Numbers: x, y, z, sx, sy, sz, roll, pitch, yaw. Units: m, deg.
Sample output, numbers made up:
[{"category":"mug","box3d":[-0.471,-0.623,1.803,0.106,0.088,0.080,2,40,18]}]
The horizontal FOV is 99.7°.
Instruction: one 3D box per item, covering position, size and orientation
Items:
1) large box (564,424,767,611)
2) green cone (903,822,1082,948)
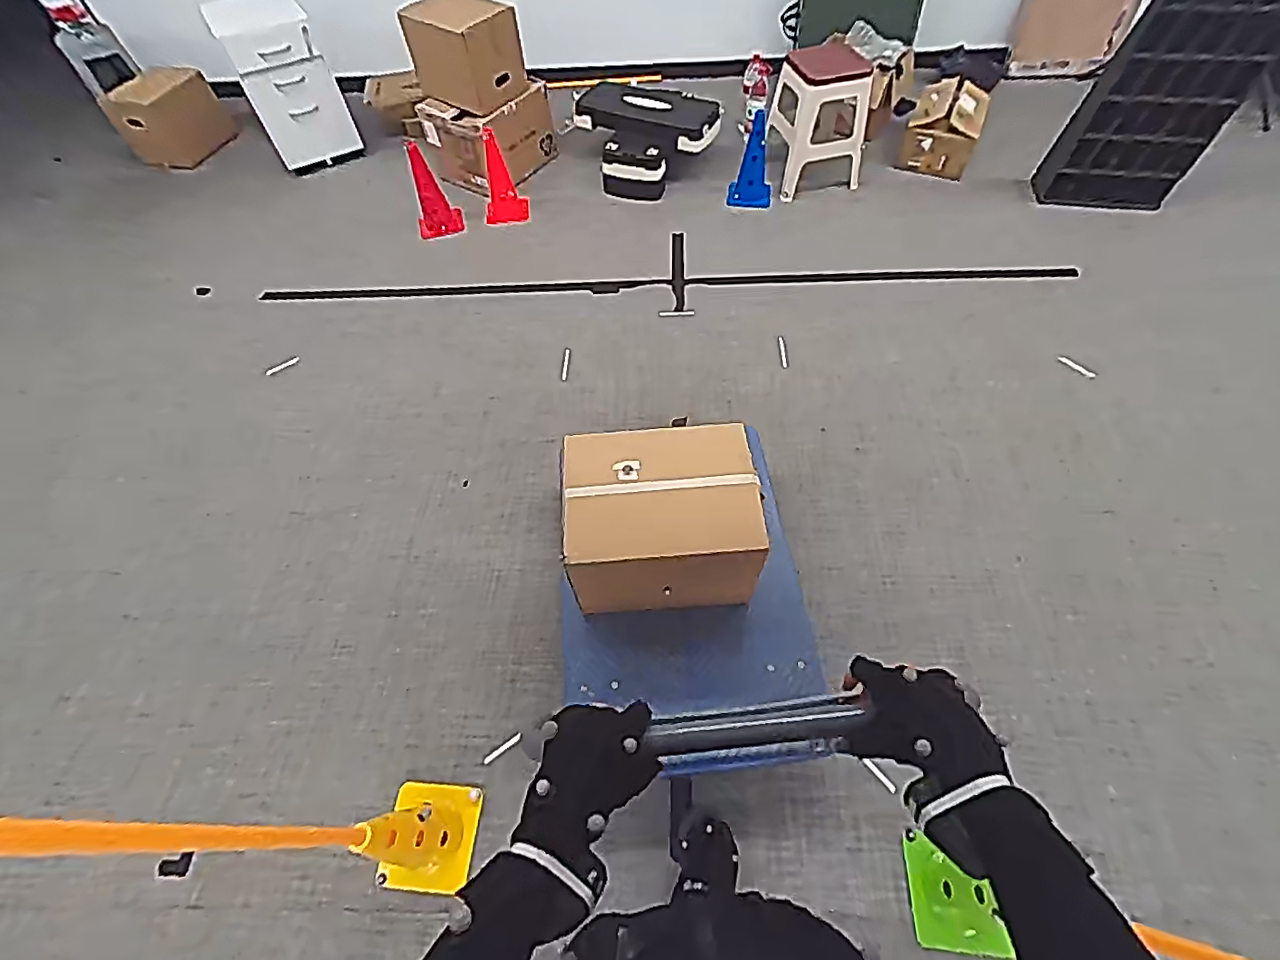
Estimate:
[{"category":"large box","box3d":[0.049,0.099,1.257,0.408,0.320,0.320,-5,58,0]},{"category":"green cone","box3d":[0.658,0.745,0.982,0.202,0.368,0.200,4,58,4]}]
